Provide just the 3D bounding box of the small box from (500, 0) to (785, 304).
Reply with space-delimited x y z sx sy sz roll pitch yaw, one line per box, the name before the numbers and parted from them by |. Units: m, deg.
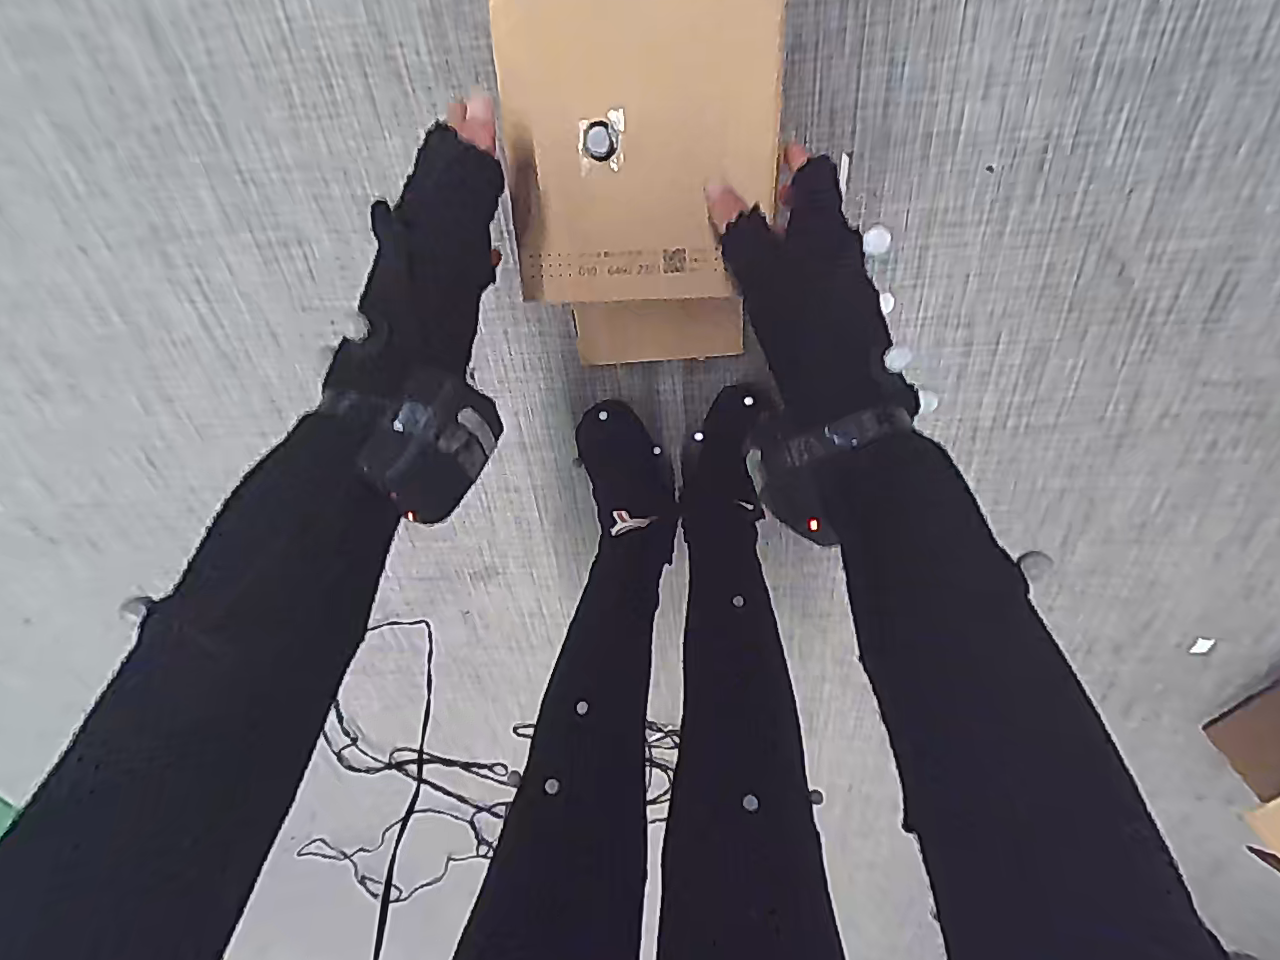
small box | 0.014 -0.224 0.404 0.168 0.179 0.176 0 112 7
